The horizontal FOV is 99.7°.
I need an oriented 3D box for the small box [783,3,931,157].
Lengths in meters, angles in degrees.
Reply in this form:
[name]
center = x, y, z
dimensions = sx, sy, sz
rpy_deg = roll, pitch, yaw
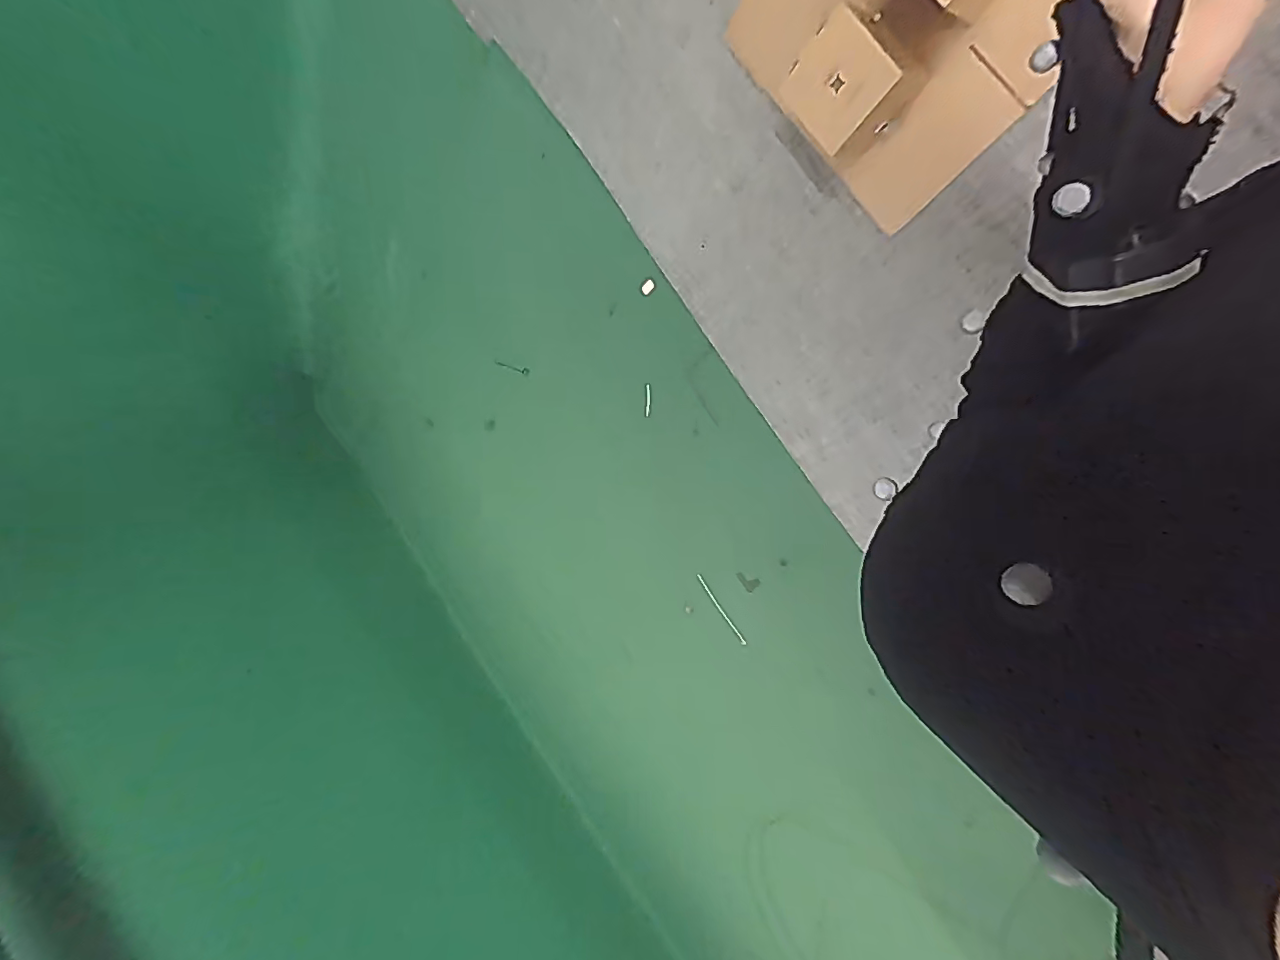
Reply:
[small box]
center = 0.417, -0.753, 1.037
dimensions = 0.179, 0.176, 0.168
rpy_deg = 53, 140, 5
